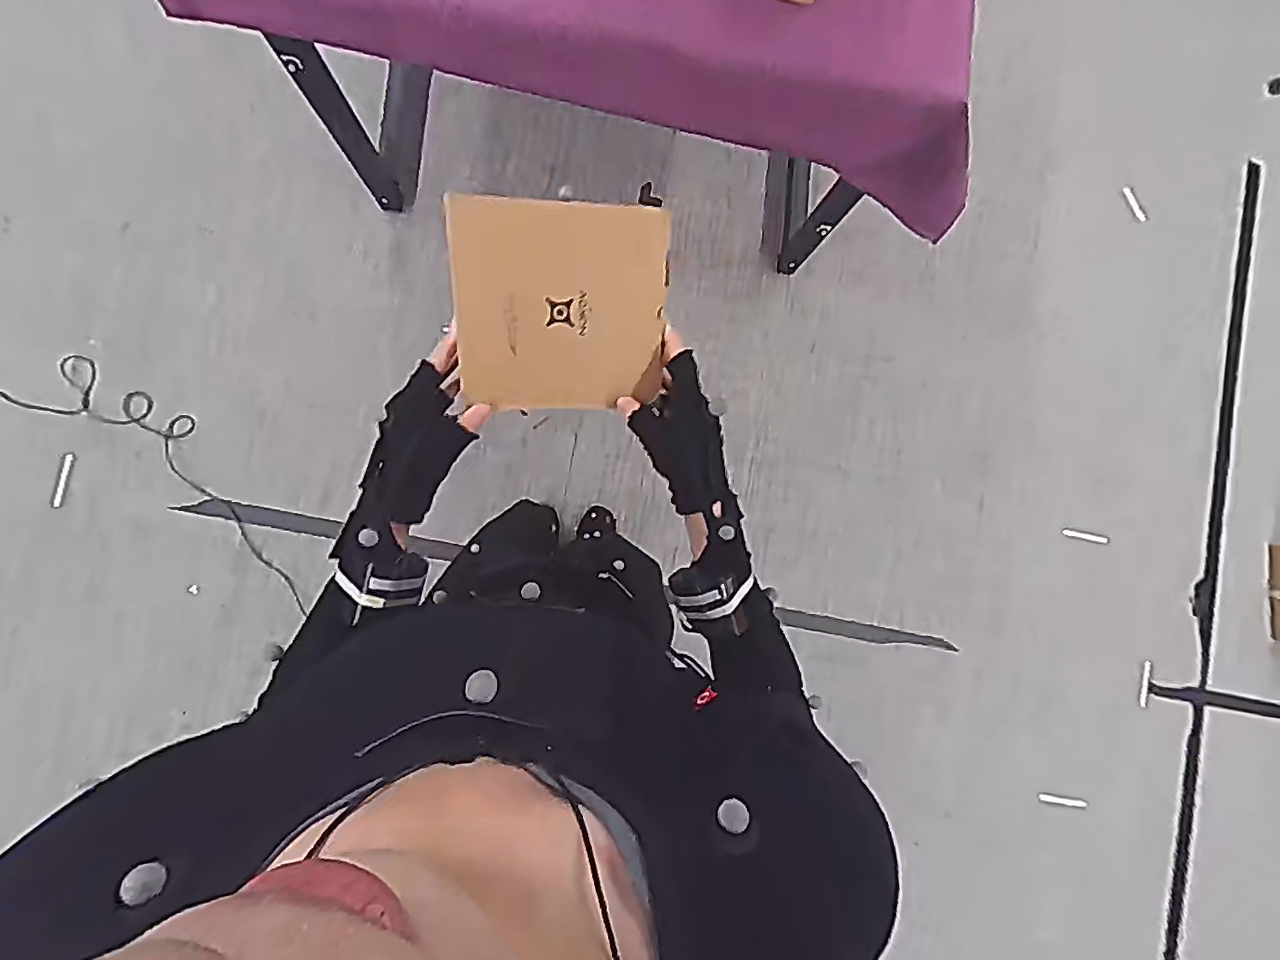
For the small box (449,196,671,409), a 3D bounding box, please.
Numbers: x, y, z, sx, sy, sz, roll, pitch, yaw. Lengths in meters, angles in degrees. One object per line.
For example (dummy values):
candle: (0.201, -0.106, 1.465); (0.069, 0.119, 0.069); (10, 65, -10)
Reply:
small box: (-0.078, -0.168, 0.520); (0.179, 0.176, 0.168); (-4, 110, -11)
